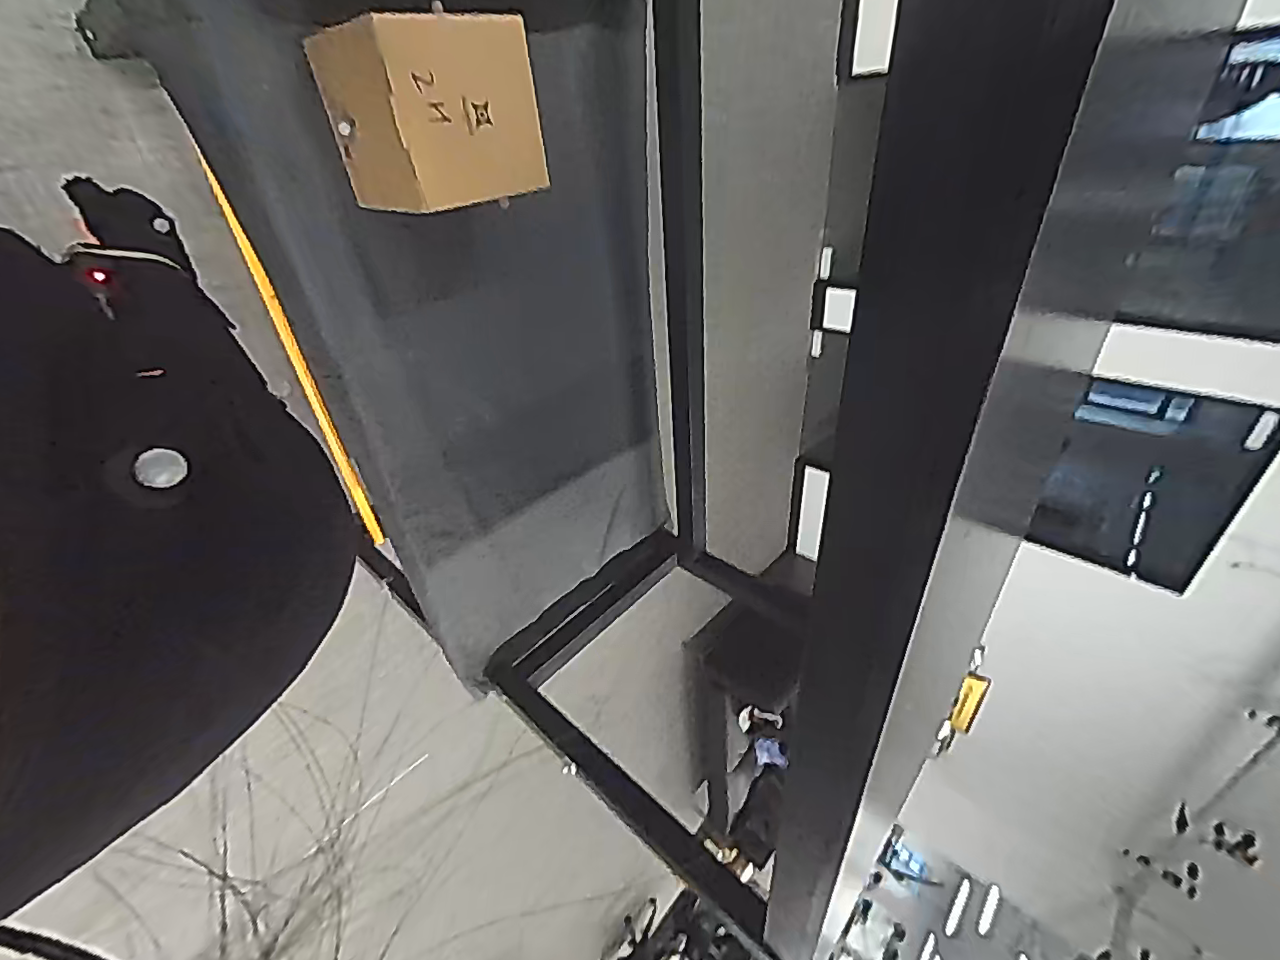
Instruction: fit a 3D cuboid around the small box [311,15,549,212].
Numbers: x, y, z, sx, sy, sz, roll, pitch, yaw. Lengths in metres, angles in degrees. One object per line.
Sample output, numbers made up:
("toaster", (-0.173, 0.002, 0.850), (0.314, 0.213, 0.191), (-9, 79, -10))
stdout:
("small box", (-0.237, -0.420, 0.629), (0.179, 0.176, 0.168), (-35, 134, -35))
